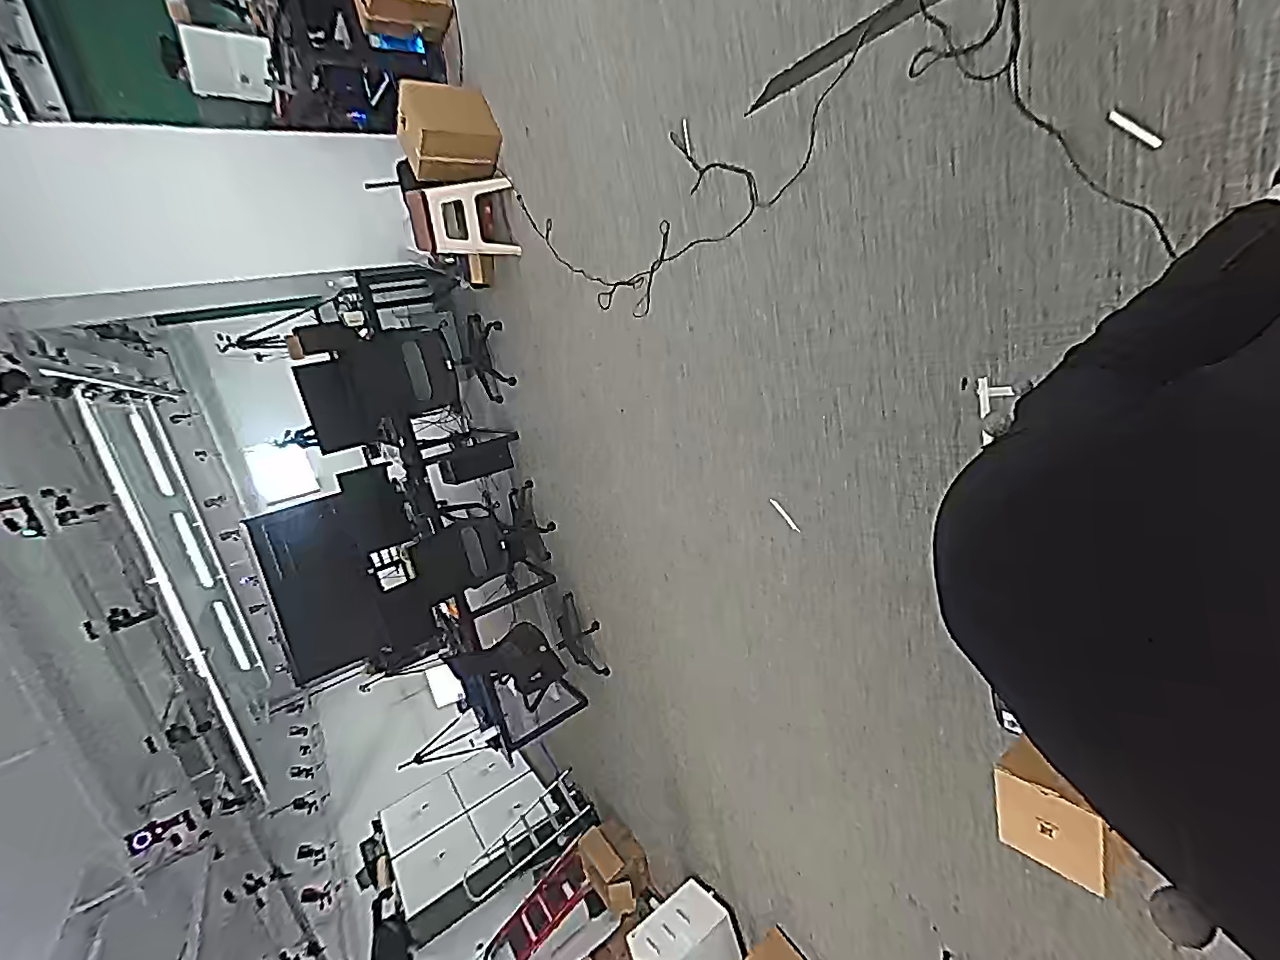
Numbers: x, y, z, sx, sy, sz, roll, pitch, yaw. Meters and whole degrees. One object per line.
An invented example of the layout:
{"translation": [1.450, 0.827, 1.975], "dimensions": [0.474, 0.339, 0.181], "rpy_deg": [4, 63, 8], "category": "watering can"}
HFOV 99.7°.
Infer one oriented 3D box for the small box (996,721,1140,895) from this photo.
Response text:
{"translation": [0.792, 0.591, 0.999], "dimensions": [0.168, 0.176, 0.179], "rpy_deg": [7, 113, 57], "category": "small box"}
